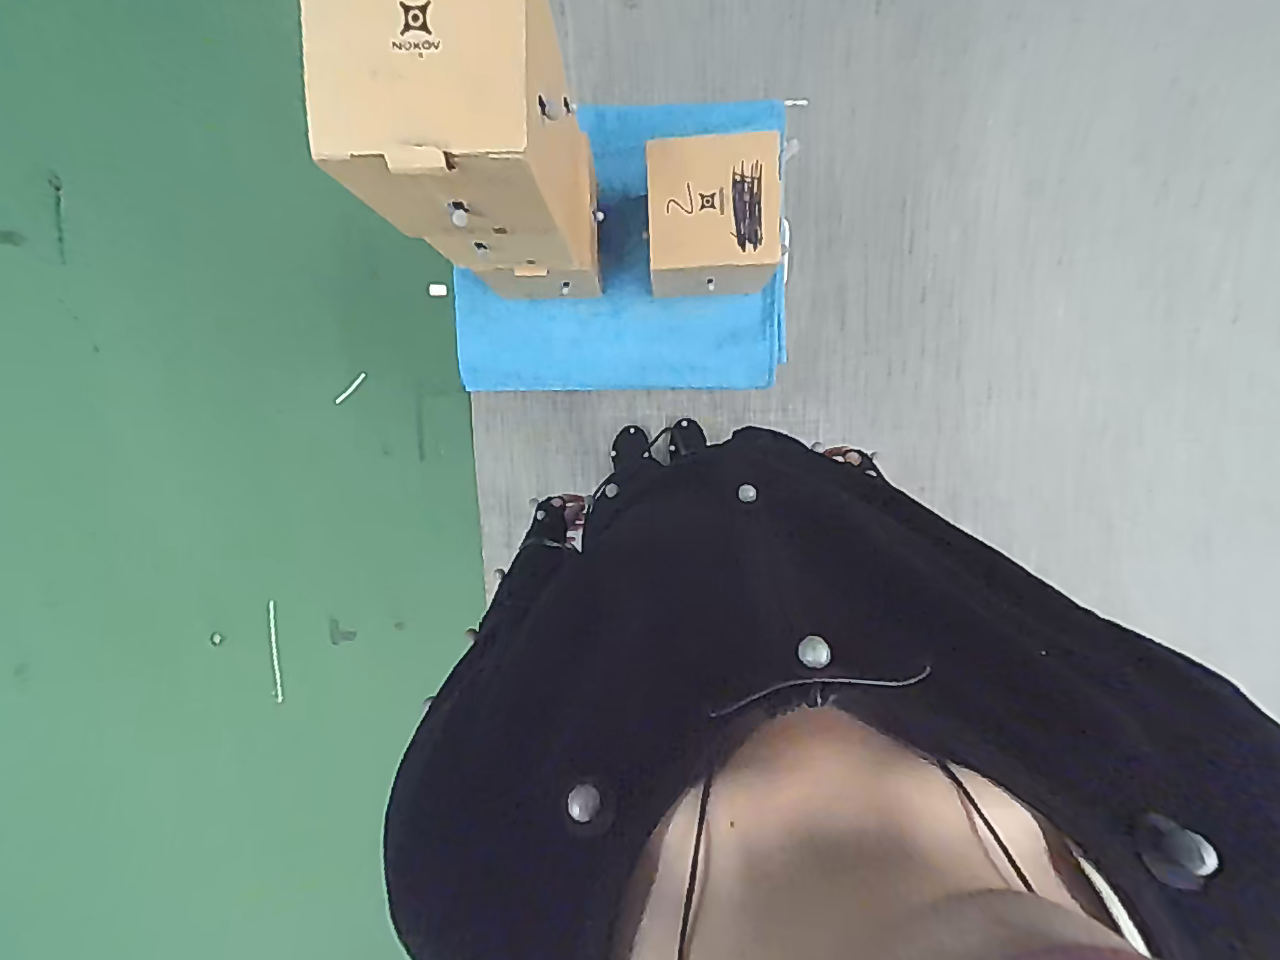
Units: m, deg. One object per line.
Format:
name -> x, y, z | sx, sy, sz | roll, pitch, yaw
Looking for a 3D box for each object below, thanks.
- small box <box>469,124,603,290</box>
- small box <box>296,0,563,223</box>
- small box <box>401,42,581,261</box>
small box -> -0.143, -0.382, 0.786 | 0.168, 0.176, 0.179 | 1, 95, 1
small box -> -0.160, -0.338, 0.463 | 0.168, 0.176, 0.179 | 2, 96, 1
small box -> -0.160, -0.365, 0.626 | 0.168, 0.176, 0.179 | 2, 95, 1
